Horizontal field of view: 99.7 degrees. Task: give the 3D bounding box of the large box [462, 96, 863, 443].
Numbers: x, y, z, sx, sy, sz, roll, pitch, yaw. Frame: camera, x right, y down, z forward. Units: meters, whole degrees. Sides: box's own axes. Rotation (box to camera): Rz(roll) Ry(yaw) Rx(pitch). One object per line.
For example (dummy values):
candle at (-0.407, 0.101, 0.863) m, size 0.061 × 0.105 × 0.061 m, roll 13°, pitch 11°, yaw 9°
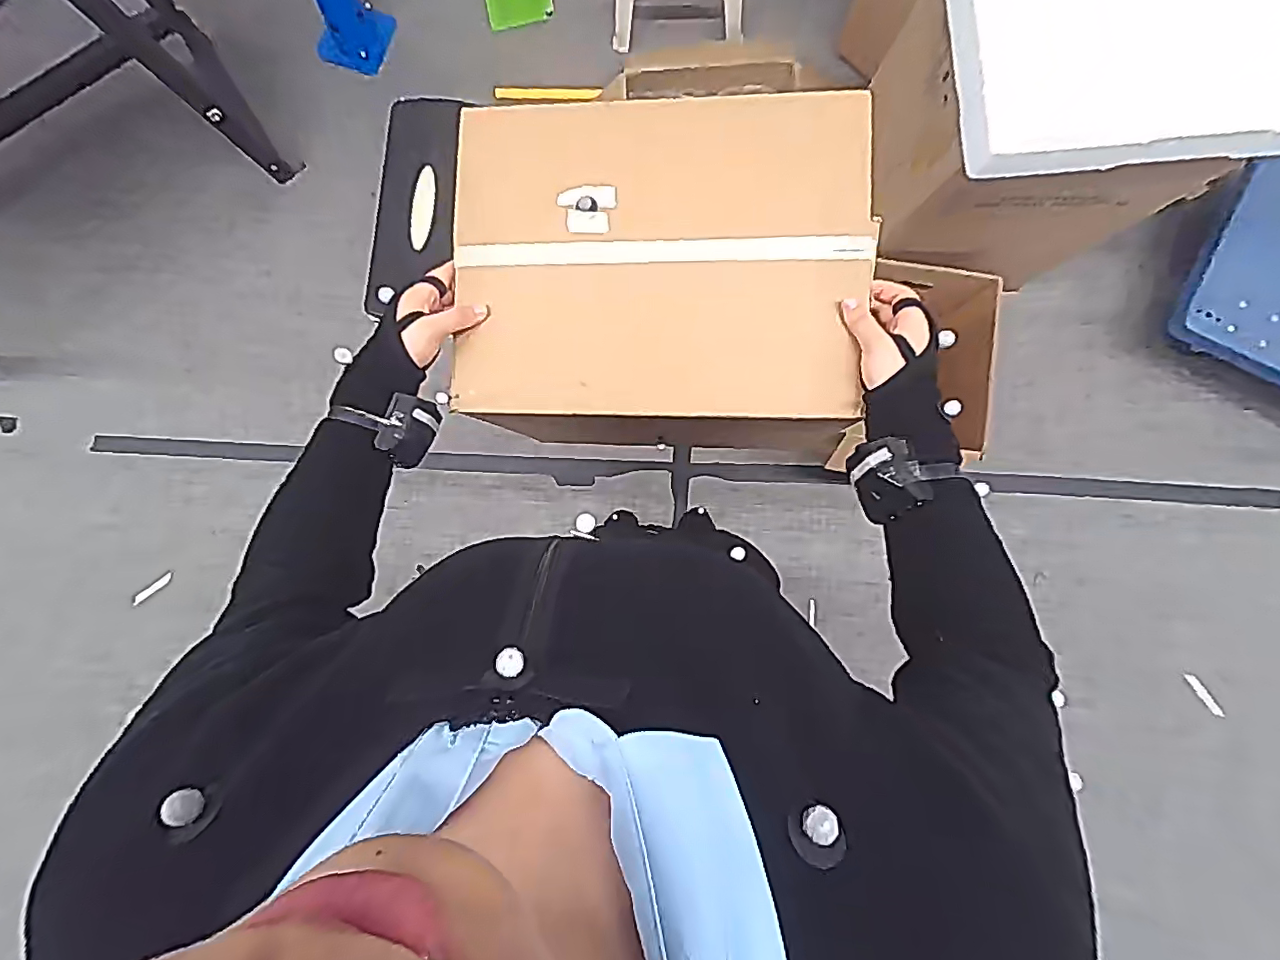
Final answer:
large box at (0.035, -0.213, 0.685) m, size 0.408 × 0.320 × 0.320 m, roll 1°, pitch 87°, yaw 7°
